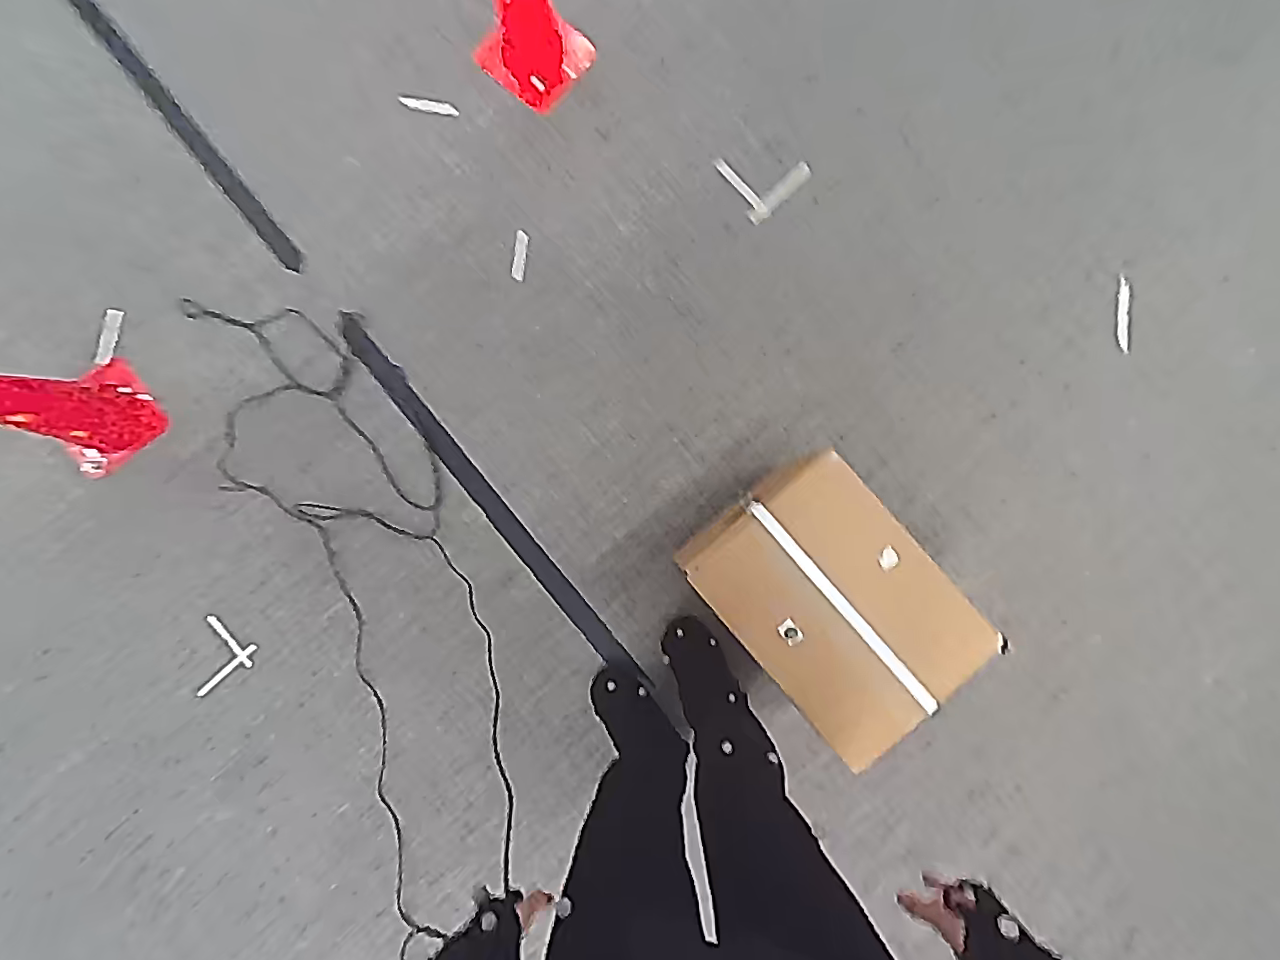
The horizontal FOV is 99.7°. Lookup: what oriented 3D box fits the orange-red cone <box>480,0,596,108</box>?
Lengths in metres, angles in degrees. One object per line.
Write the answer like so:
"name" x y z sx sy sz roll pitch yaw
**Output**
"orange-red cone" -0.221 -0.946 1.013 0.198 0.360 0.199 41 87 1
